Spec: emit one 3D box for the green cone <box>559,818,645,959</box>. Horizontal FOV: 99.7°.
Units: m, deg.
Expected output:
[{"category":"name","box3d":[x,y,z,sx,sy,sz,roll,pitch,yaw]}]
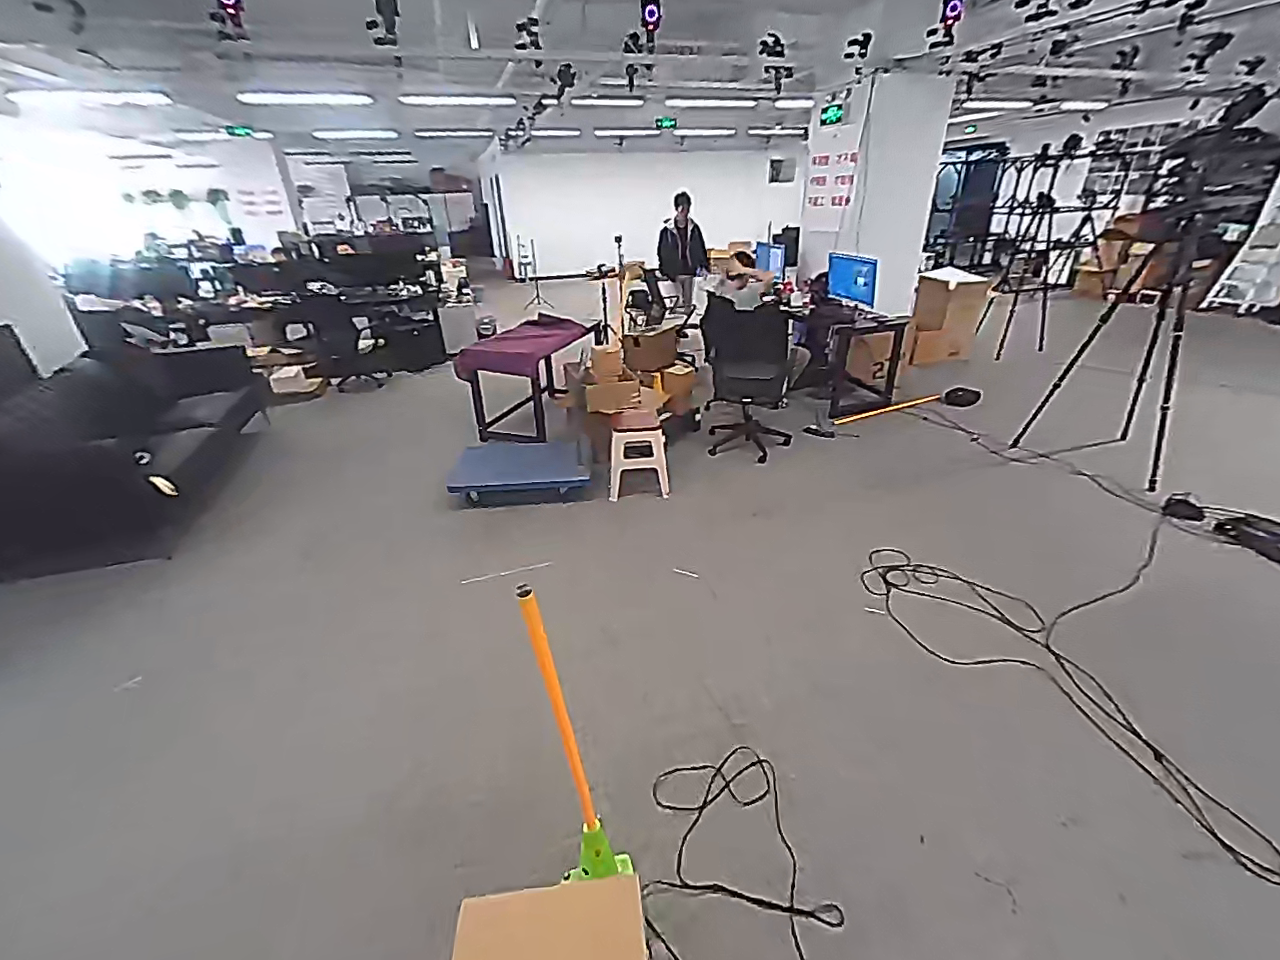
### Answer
[{"category":"green cone","box3d":[-0.106,0.978,1.351,0.202,0.368,0.200,-8,29,-14]}]
